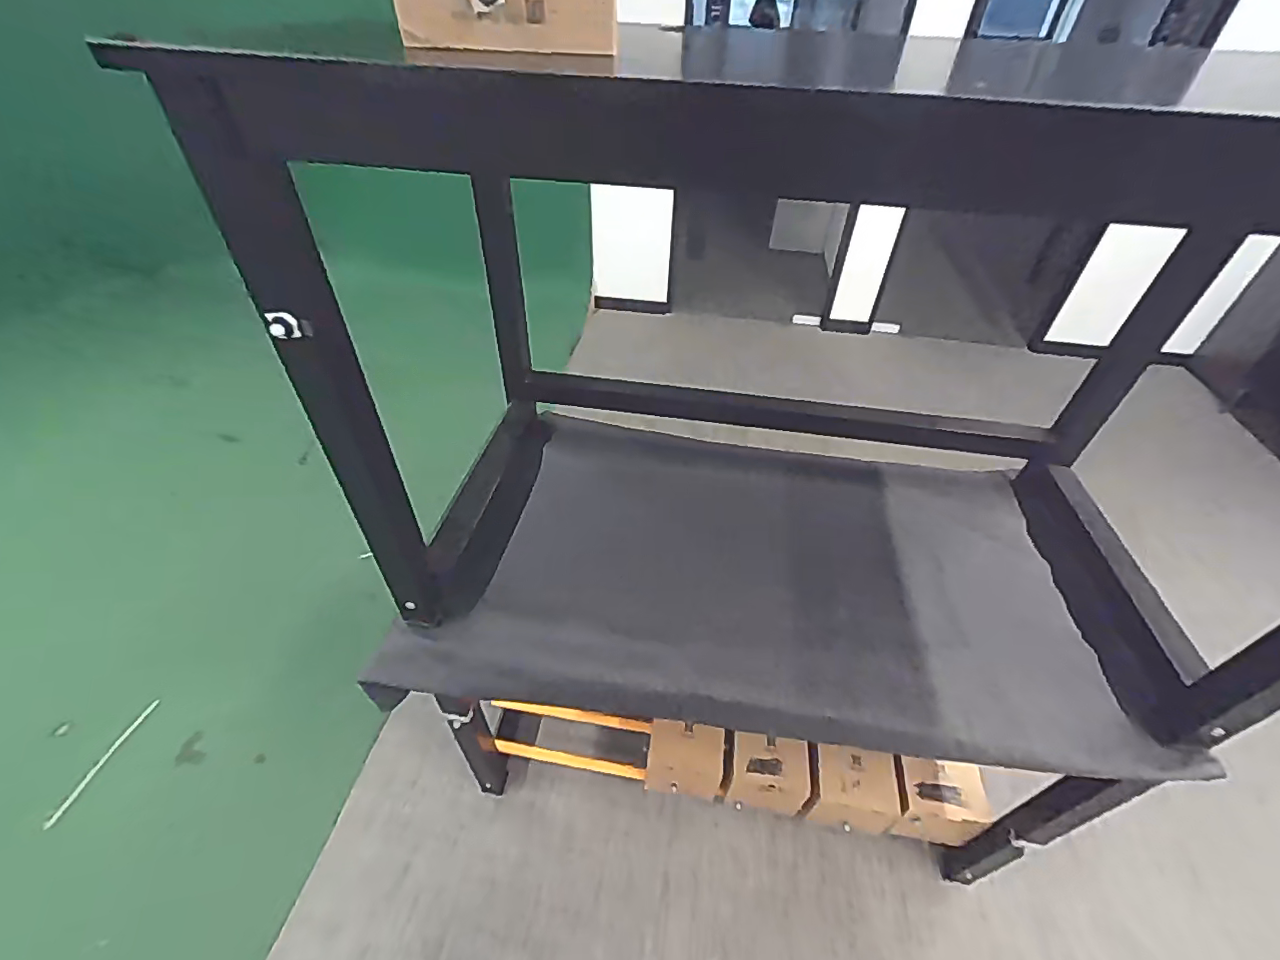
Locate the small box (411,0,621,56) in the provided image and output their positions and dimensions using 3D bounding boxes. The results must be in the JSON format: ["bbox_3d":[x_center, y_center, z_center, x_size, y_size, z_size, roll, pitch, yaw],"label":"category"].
[{"bbox_3d":[-0.099,-0.457,0.431,0.168,0.176,0.179,-1,44,-2],"label":"small box"}]
